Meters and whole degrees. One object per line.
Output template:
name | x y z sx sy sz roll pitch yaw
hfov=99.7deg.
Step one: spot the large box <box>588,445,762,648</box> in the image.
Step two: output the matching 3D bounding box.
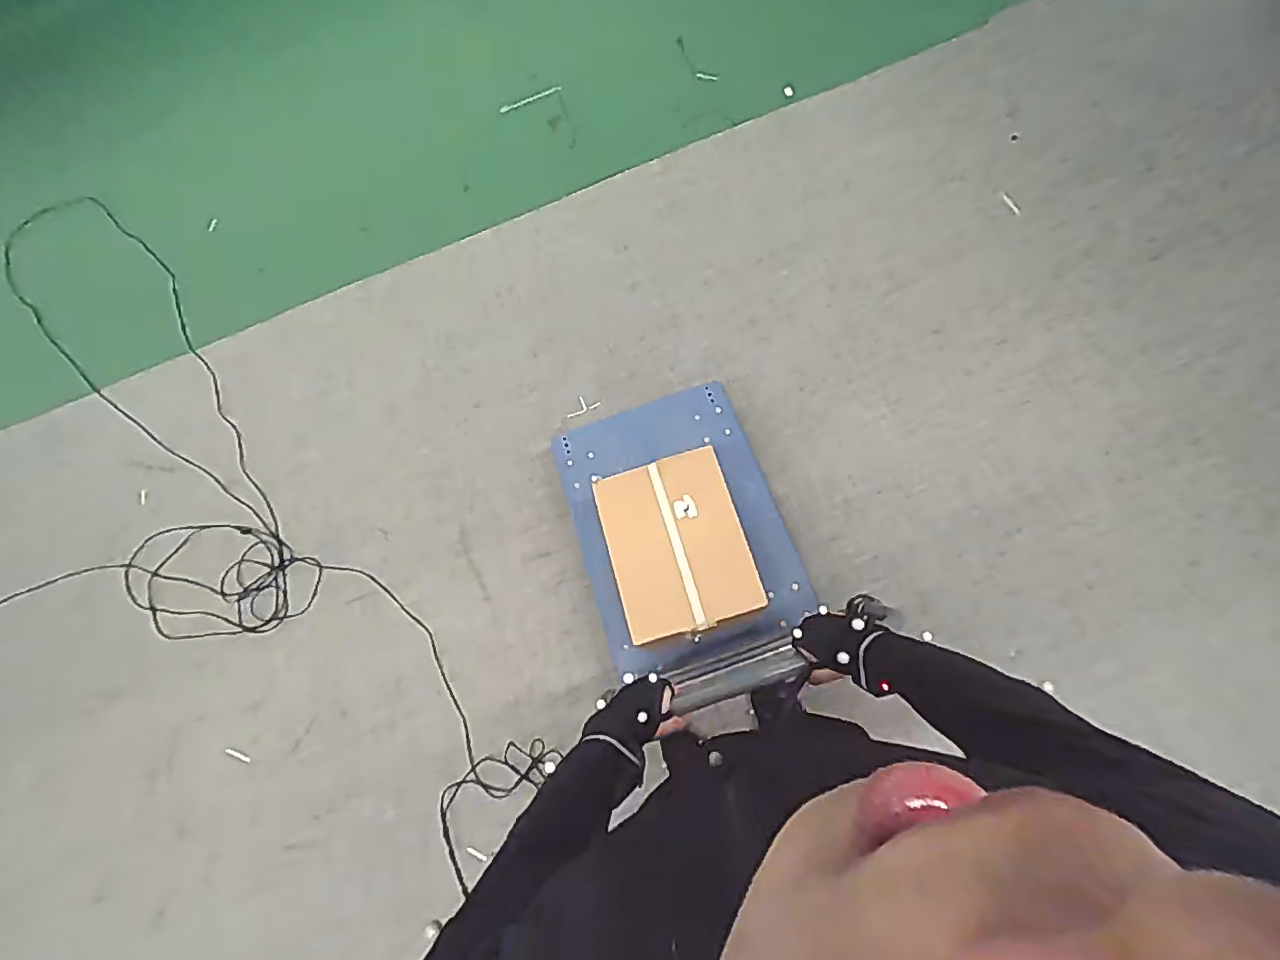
large box | 0.091 0.184 1.394 0.320 0.320 0.408 -17 69 1
